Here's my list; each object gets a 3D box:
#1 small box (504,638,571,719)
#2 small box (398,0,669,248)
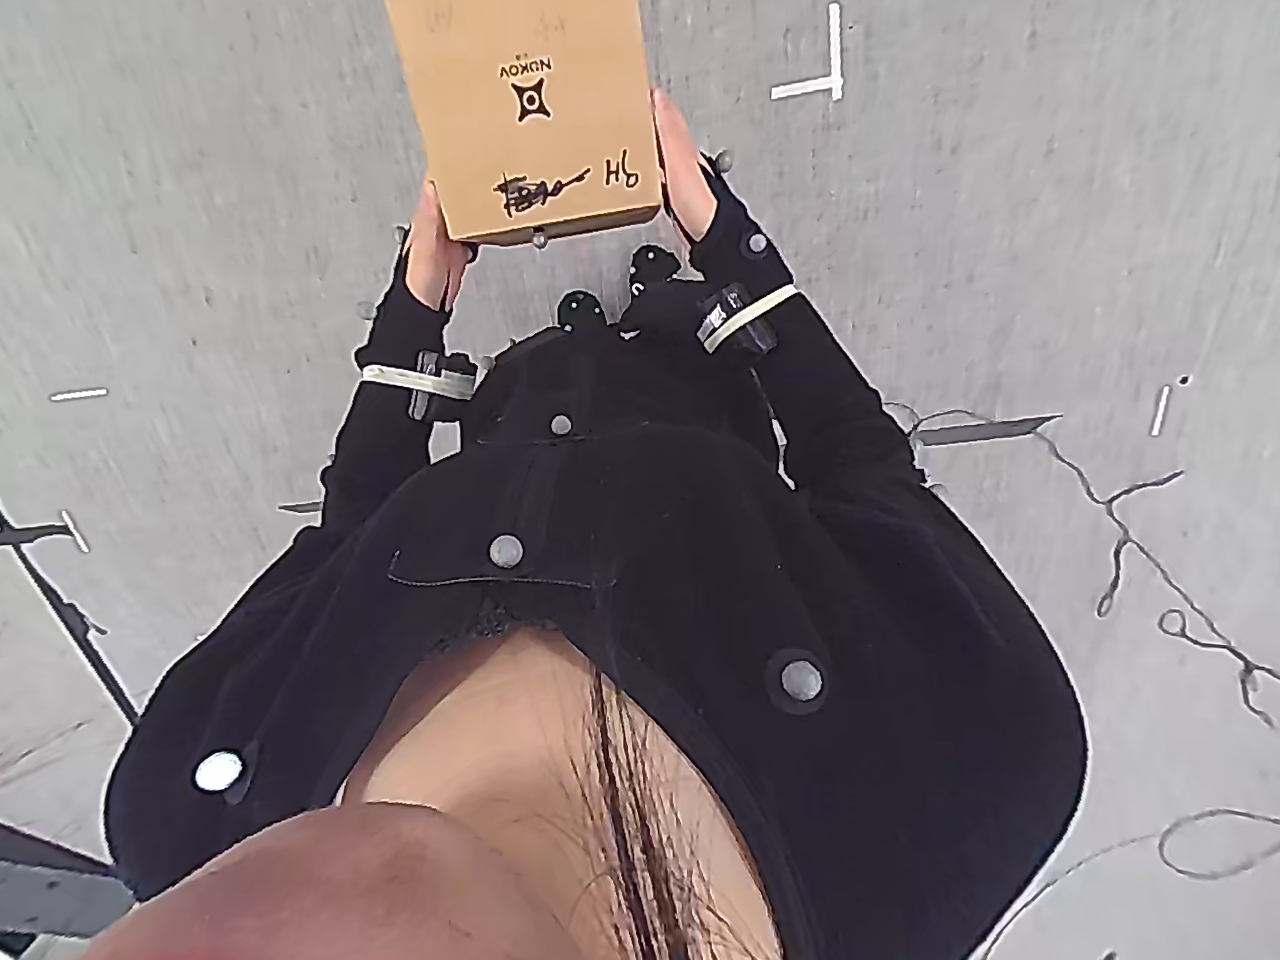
[{"bbox_3d":[-0.322,0.625,1.717,0.179,0.176,0.168,8,111,-5],"label":"small box"},{"bbox_3d":[-0.073,-0.300,0.448,0.168,0.176,0.179,-9,111,2],"label":"small box"}]
